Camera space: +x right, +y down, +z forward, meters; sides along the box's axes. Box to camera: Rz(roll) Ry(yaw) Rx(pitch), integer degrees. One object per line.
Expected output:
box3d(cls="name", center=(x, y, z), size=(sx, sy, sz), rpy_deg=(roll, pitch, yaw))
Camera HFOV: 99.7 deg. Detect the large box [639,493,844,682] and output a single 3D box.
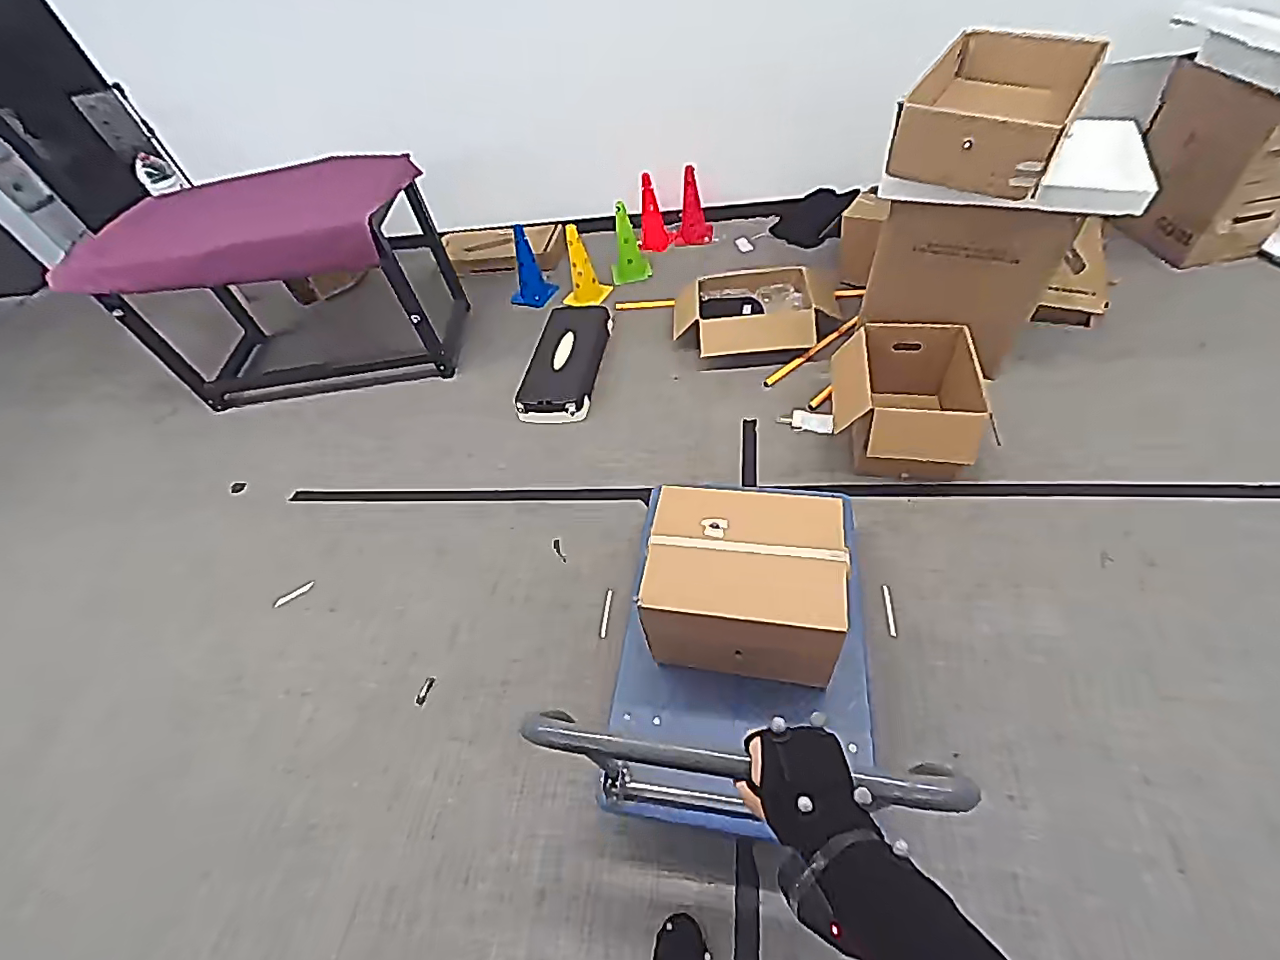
box3d(cls="large box", center=(0.241, 0.249, 1.262), size=(0.408, 0.320, 0.320), rpy_deg=(3, 51, 14))
